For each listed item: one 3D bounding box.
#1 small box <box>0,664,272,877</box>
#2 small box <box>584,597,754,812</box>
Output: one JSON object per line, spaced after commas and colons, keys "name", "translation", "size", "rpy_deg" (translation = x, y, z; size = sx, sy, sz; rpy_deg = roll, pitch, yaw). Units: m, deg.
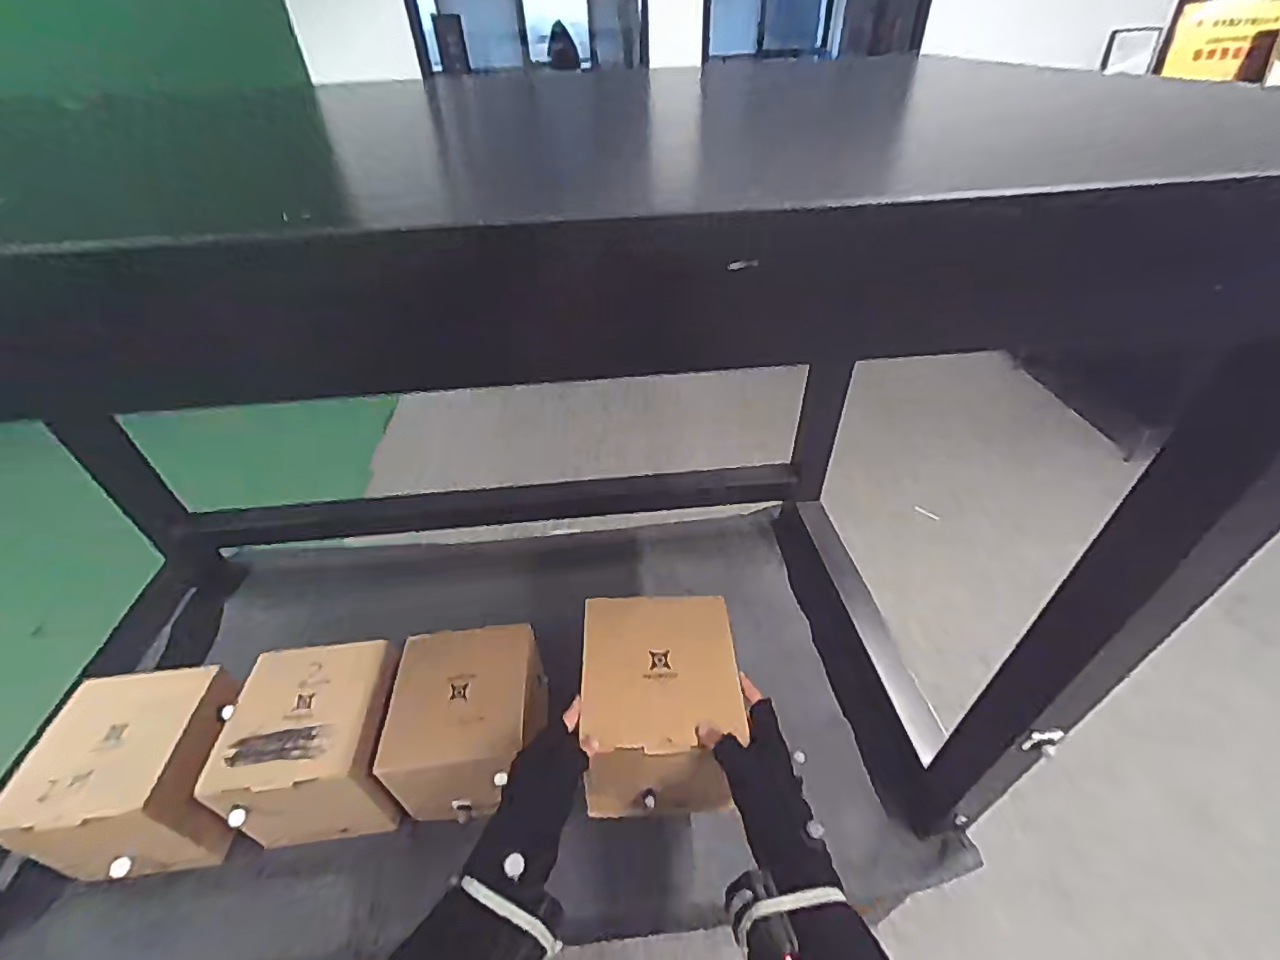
{"name": "small box", "translation": [-0.602, 0.359, 0.675], "size": [0.168, 0.176, 0.179], "rpy_deg": [-5, 40, -4]}
{"name": "small box", "translation": [0.022, 0.257, 0.626], "size": [0.168, 0.176, 0.179], "rpy_deg": [-1, 41, -3]}
